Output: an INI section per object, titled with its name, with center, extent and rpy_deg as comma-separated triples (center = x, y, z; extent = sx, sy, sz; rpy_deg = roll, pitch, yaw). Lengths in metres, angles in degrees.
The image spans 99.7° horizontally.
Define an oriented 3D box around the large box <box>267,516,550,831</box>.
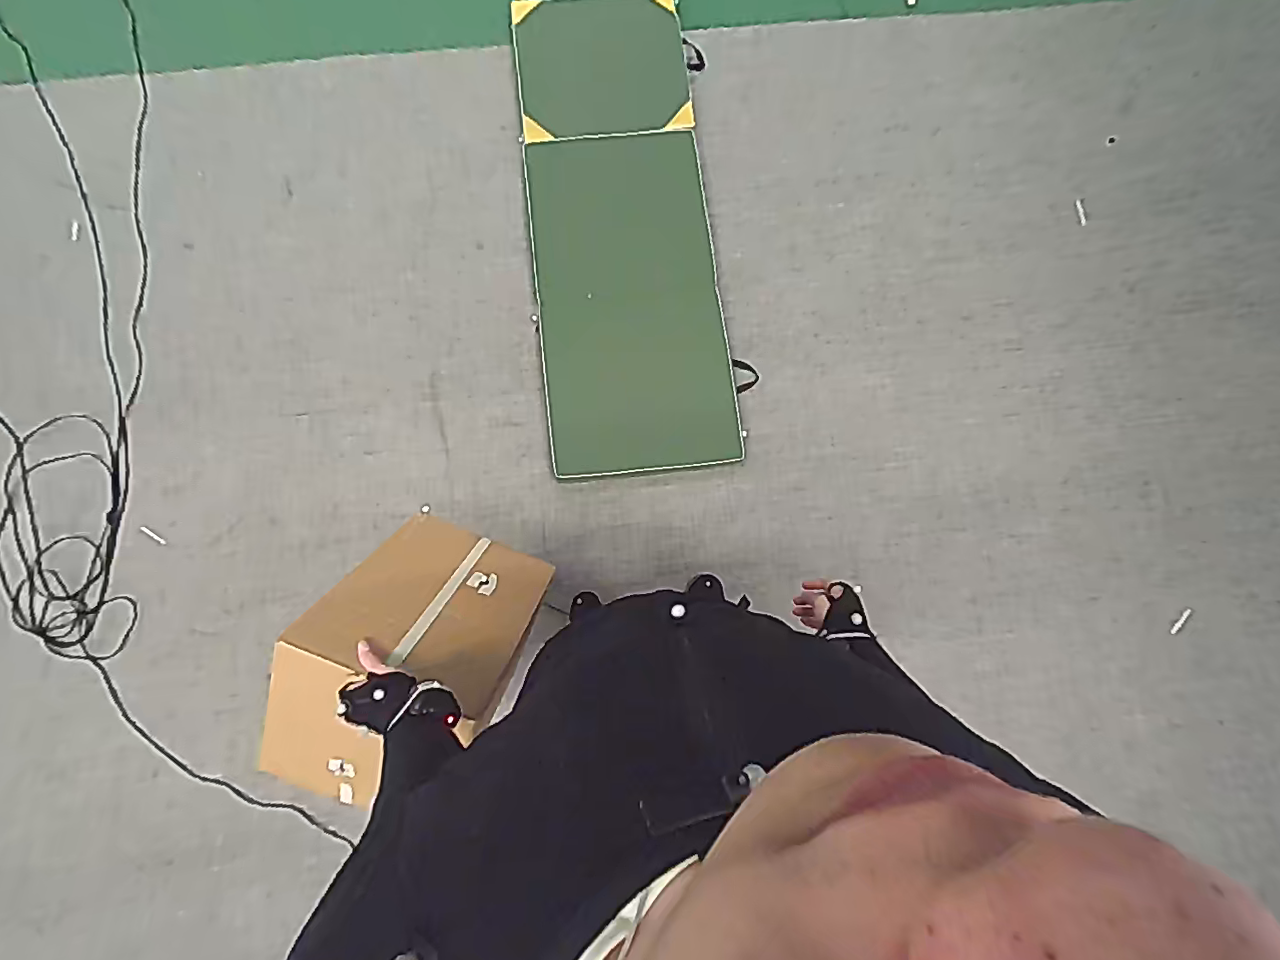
[large box]
center = -0.403, 0.335, 1.010
extent = 0.320, 0.408, 0.320
rpy_deg = 23, 114, -3
